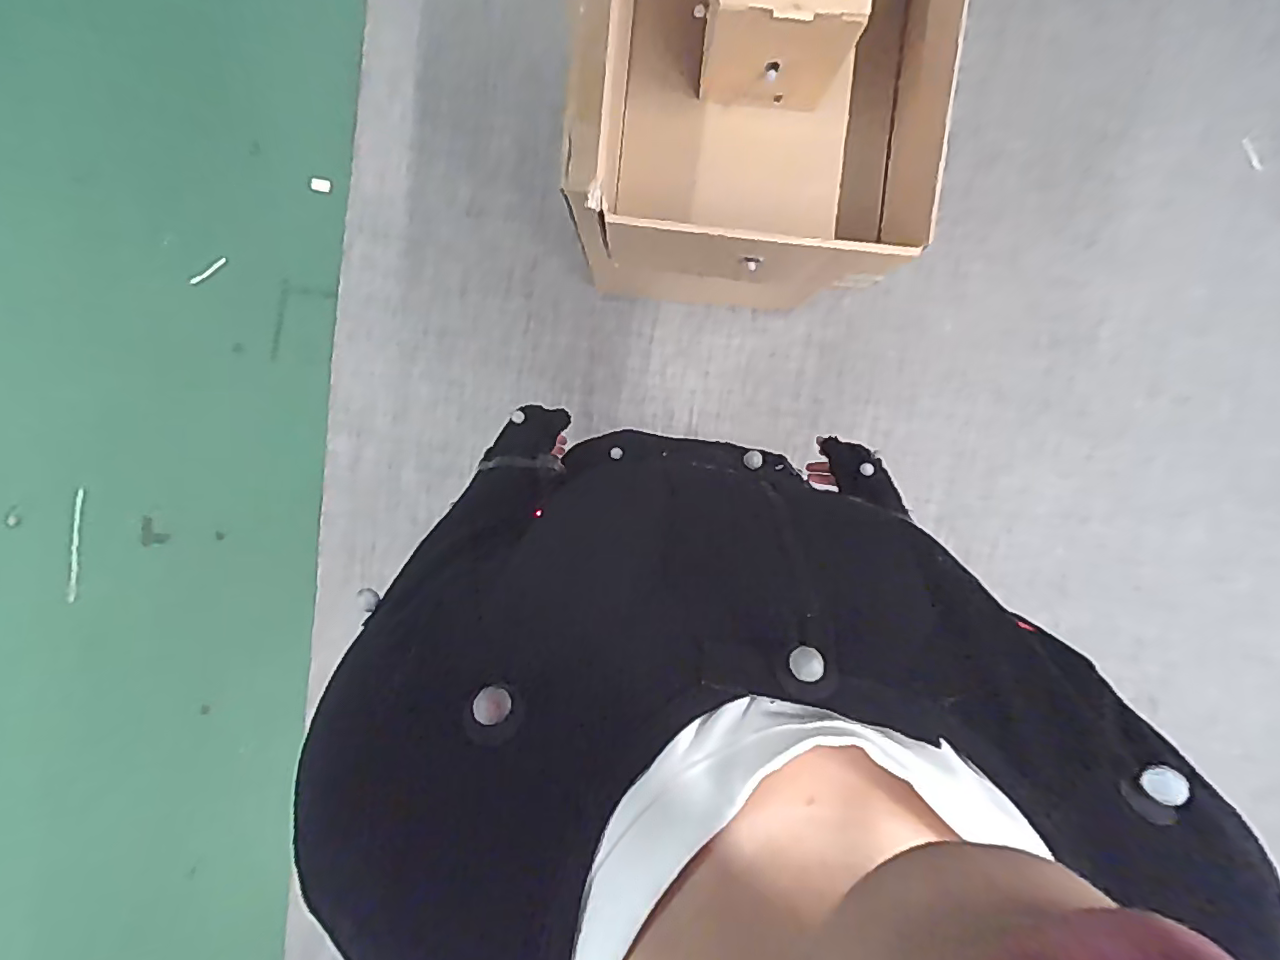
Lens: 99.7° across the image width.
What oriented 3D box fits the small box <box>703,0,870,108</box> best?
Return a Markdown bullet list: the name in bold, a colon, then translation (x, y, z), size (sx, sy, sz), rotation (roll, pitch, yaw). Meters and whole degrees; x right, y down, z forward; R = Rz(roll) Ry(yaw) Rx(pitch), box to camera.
- **small box**: translation (0.172, -0.588, 0.650), size (0.168, 0.176, 0.179), rotation (5, 95, -1)
